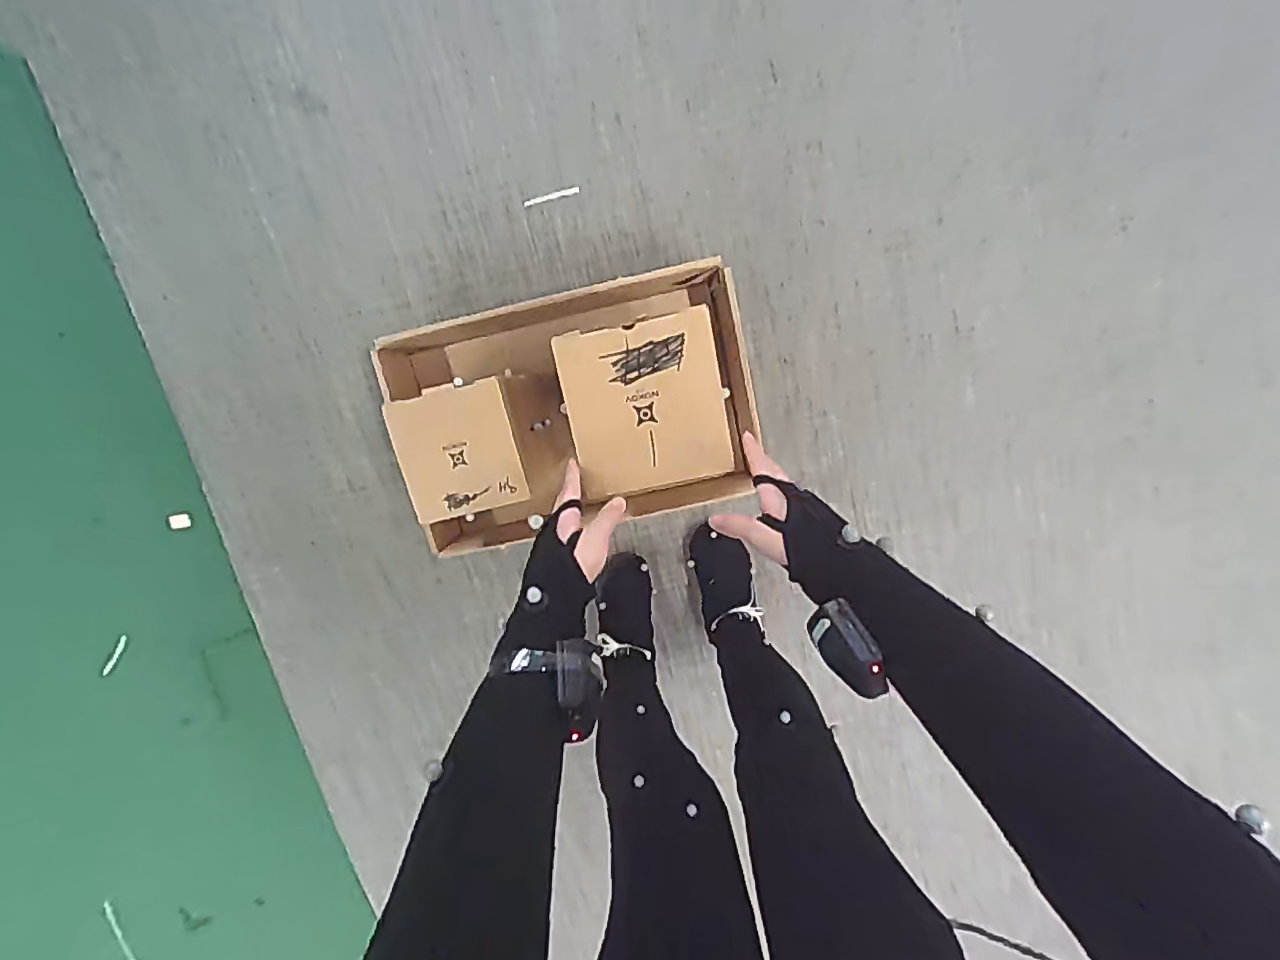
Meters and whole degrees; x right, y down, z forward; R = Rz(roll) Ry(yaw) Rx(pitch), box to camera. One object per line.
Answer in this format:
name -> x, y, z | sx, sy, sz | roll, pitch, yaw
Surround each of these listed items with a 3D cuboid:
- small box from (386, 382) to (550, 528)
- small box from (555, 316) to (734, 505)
small box -> -0.248, -0.044, 0.822 | 0.168, 0.176, 0.179 | -13, 100, 4
small box -> 0.008, -0.084, 0.646 | 0.168, 0.176, 0.179 | -11, 101, 4
